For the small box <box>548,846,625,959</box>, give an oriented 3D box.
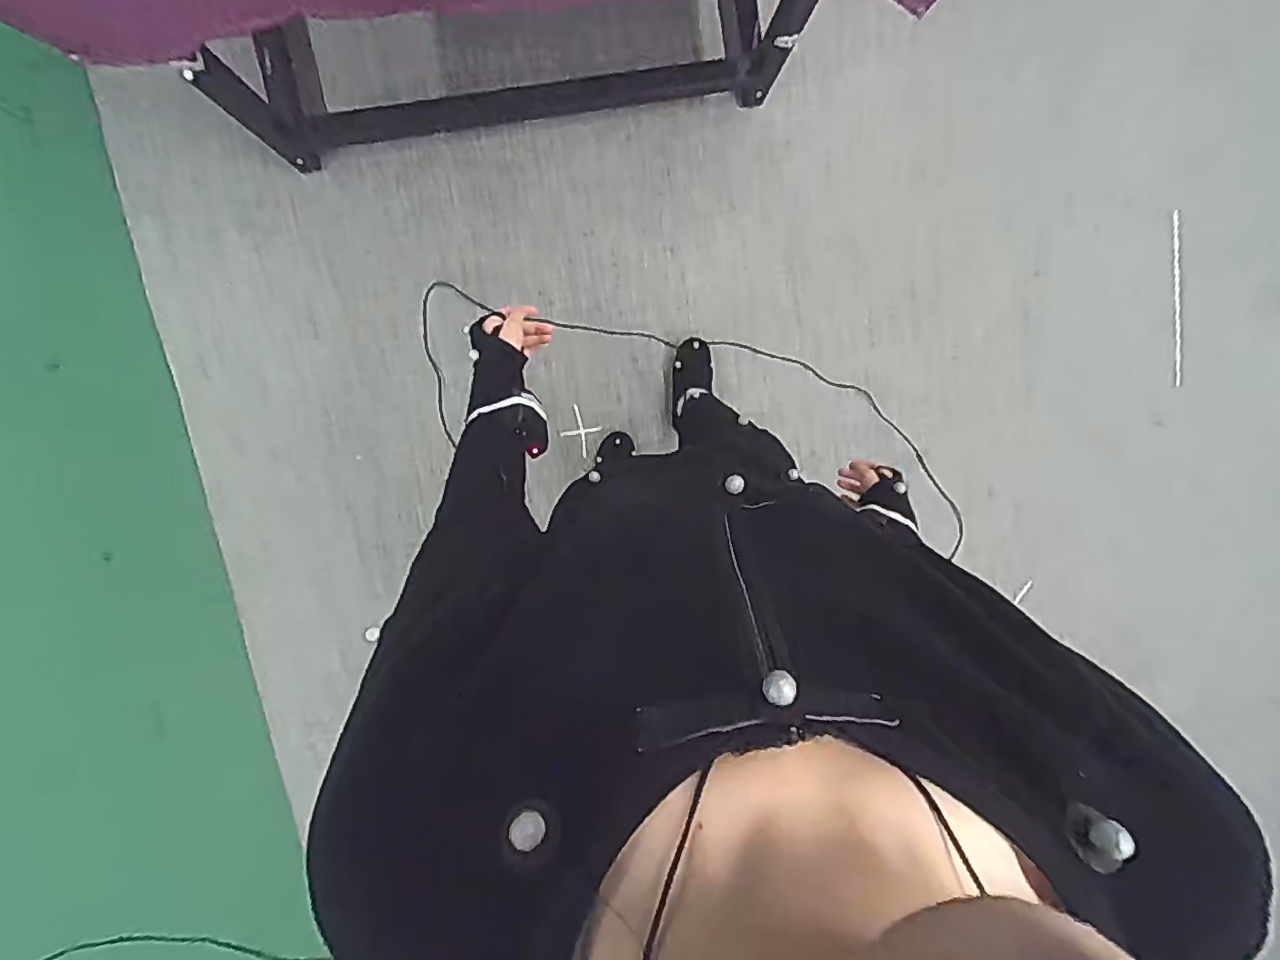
[{"bbox_3d":[-0.147,1.171,1.514,0.179,0.176,0.168,-15,97,-1],"label":"small box"}]
